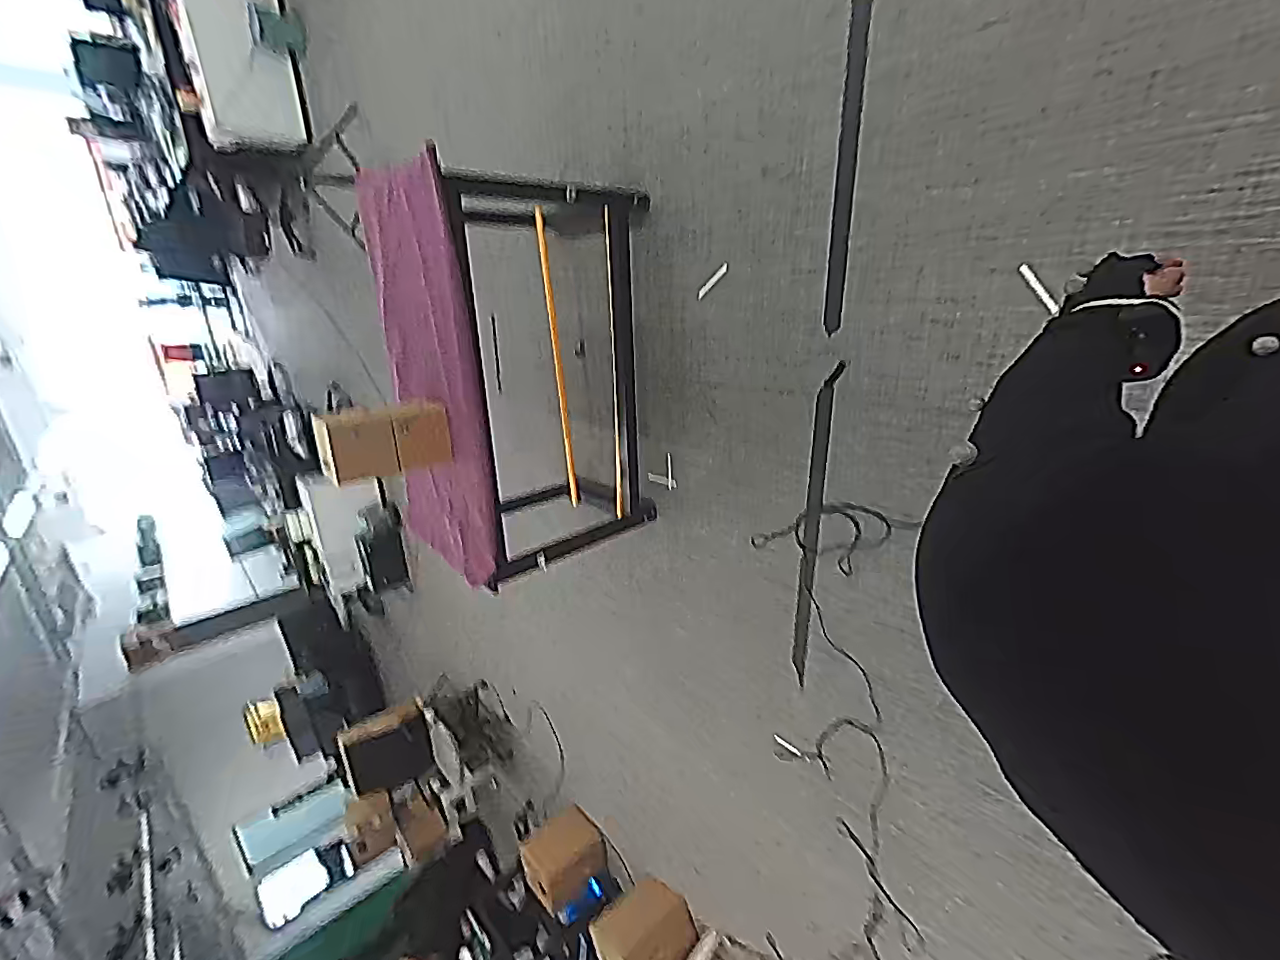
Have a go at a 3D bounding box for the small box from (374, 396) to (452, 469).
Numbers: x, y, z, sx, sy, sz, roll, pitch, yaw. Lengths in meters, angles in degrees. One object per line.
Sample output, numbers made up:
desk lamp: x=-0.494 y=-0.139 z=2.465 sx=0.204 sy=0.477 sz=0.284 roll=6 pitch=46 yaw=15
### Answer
small box: x=-0.691 y=-0.150 z=1.659 sx=0.168 sy=0.176 sz=0.179 roll=19 pitch=118 yaw=45
